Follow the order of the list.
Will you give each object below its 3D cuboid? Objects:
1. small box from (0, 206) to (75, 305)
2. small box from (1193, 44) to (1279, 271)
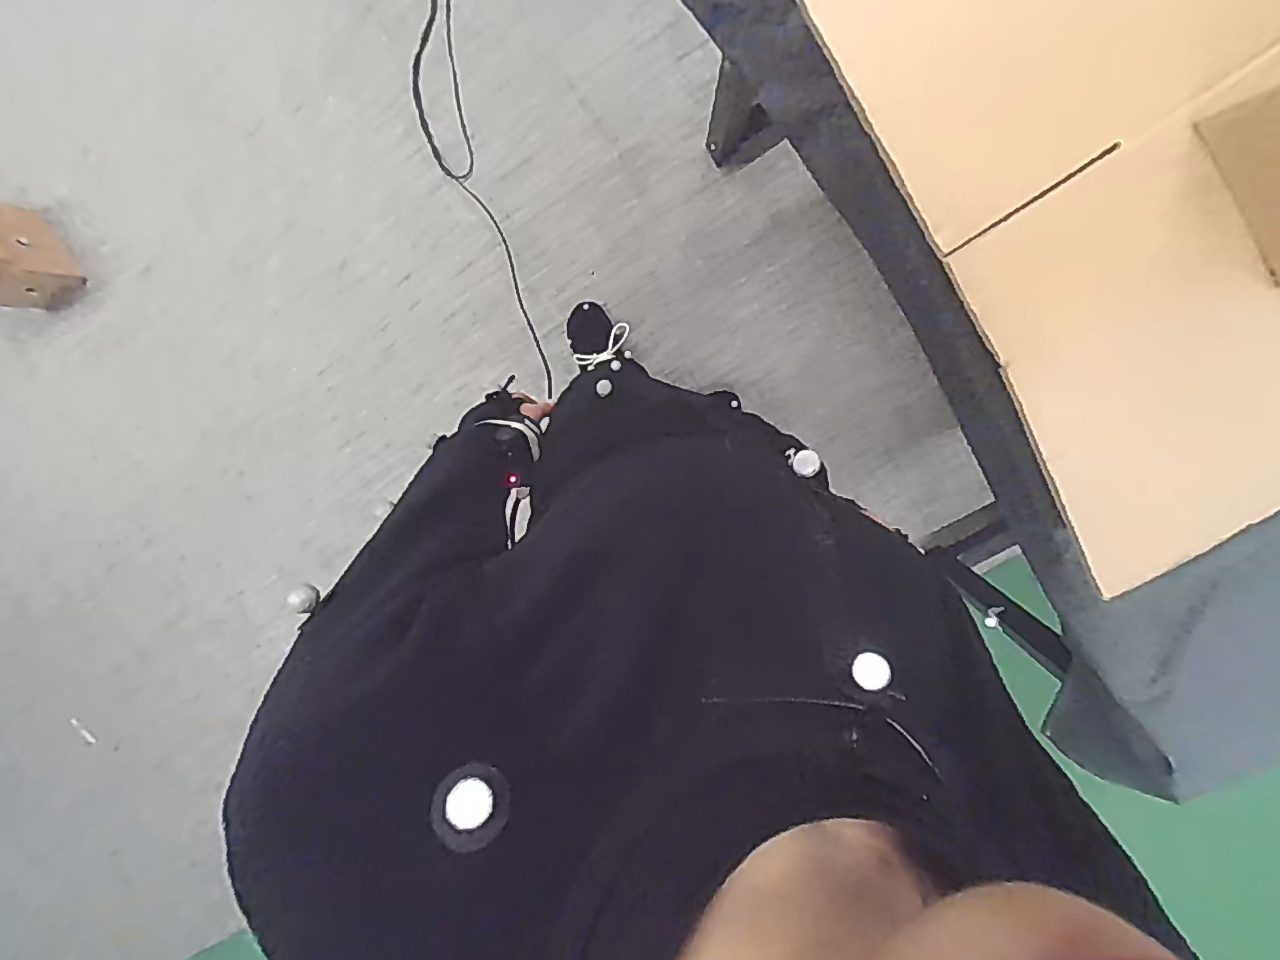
[{"bbox_3d":[-1.480,-0.515,1.236,0.168,0.176,0.179,-27,102,9],"label":"small box"},{"bbox_3d":[0.554,-0.256,0.360,0.168,0.176,0.179,-41,100,8],"label":"small box"}]
